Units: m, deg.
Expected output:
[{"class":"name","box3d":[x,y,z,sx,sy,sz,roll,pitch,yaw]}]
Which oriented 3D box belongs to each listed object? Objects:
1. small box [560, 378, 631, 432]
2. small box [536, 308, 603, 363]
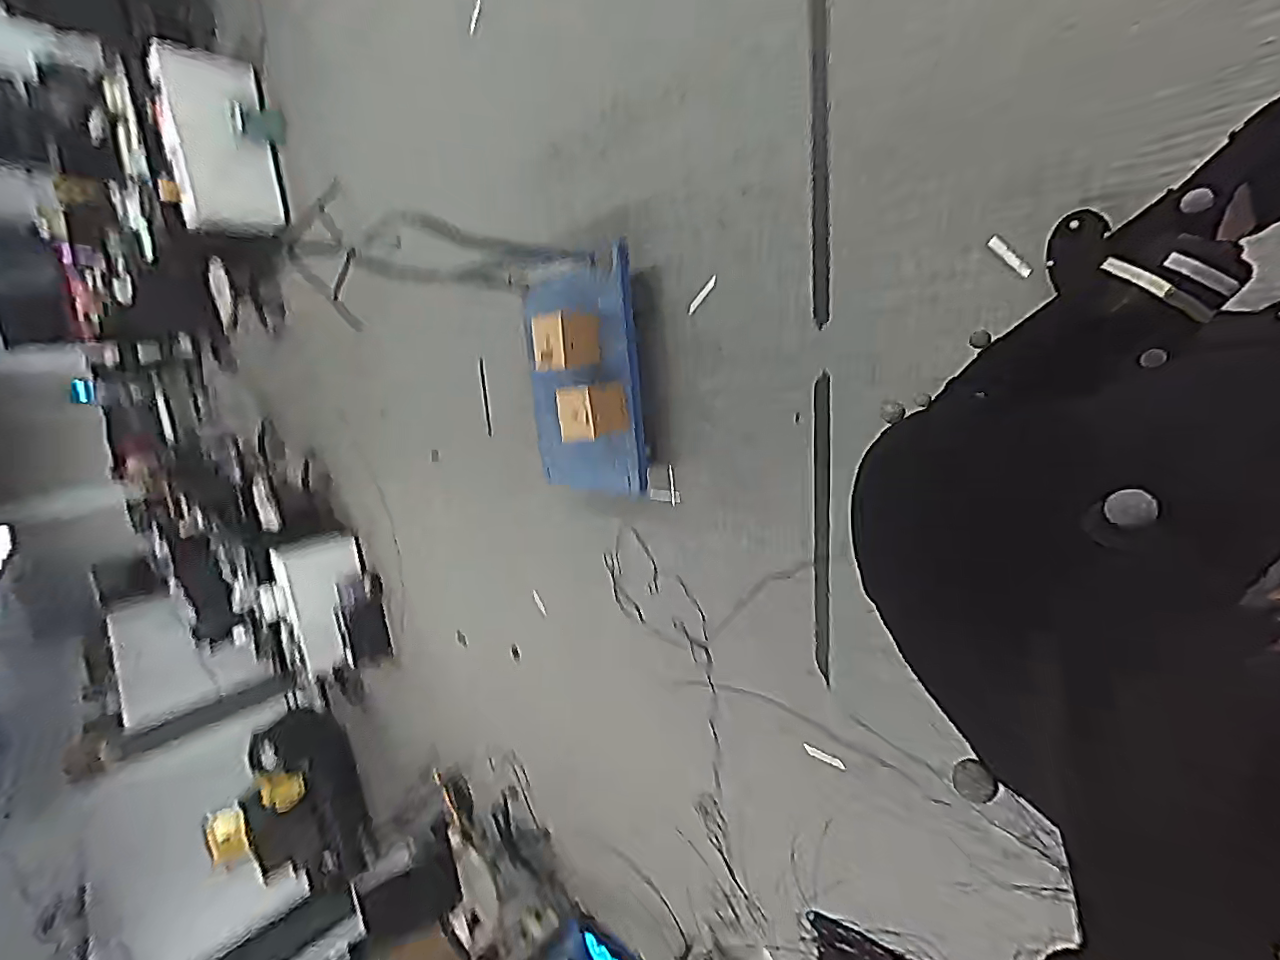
[{"class":"small box","box3d":[-0.154,-0.261,1.892,0.179,0.176,0.168,2,104,46]},{"class":"small box","box3d":[-0.245,-0.509,1.906,0.168,0.176,0.179,10,109,43]}]
